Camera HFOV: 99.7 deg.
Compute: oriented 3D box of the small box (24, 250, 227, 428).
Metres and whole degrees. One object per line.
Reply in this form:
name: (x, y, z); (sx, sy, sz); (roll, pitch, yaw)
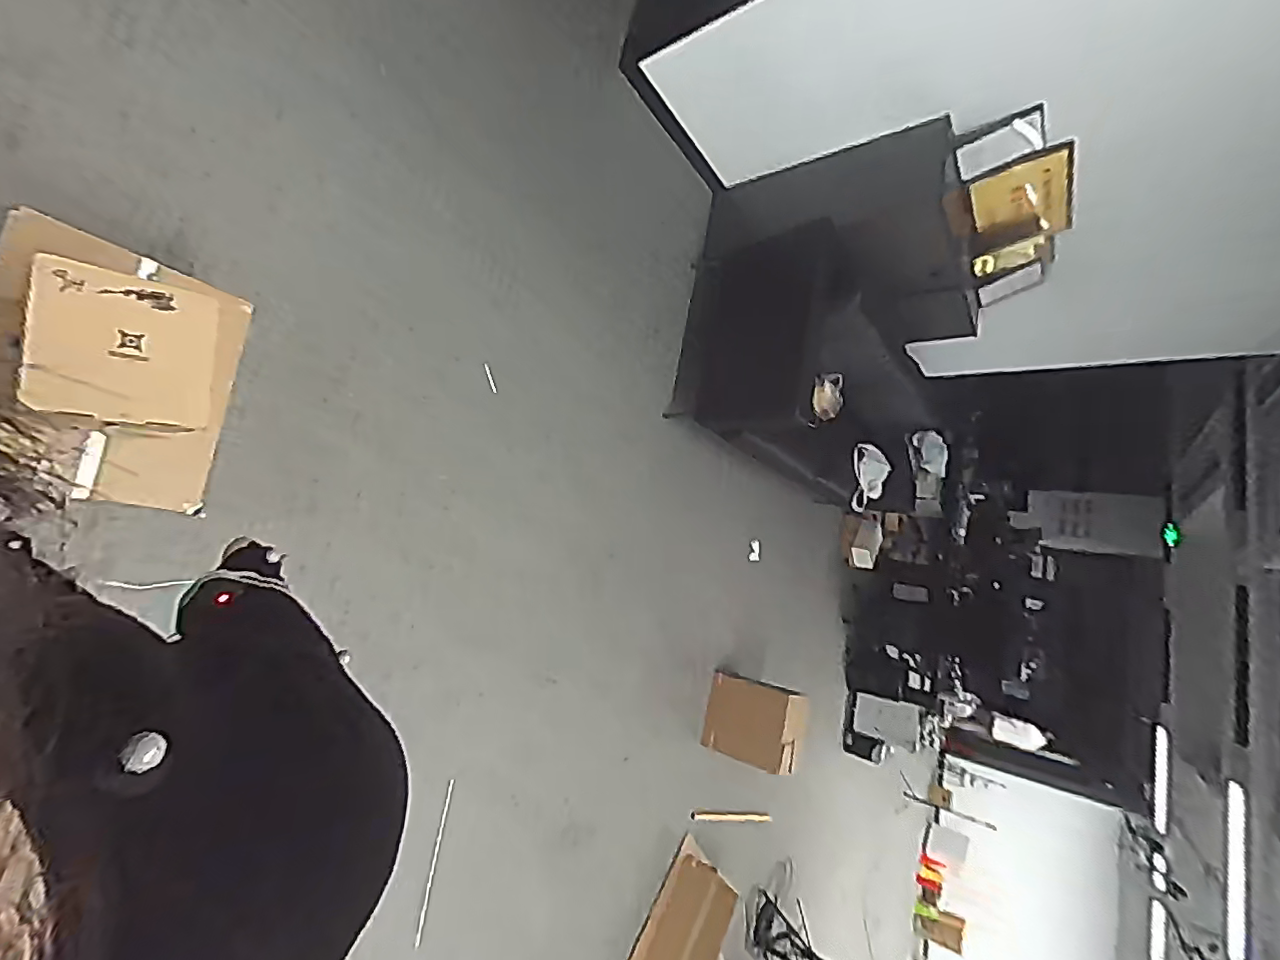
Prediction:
small box: (-0.665, -0.165, 0.701); (0.168, 0.176, 0.179); (7, 88, -50)
